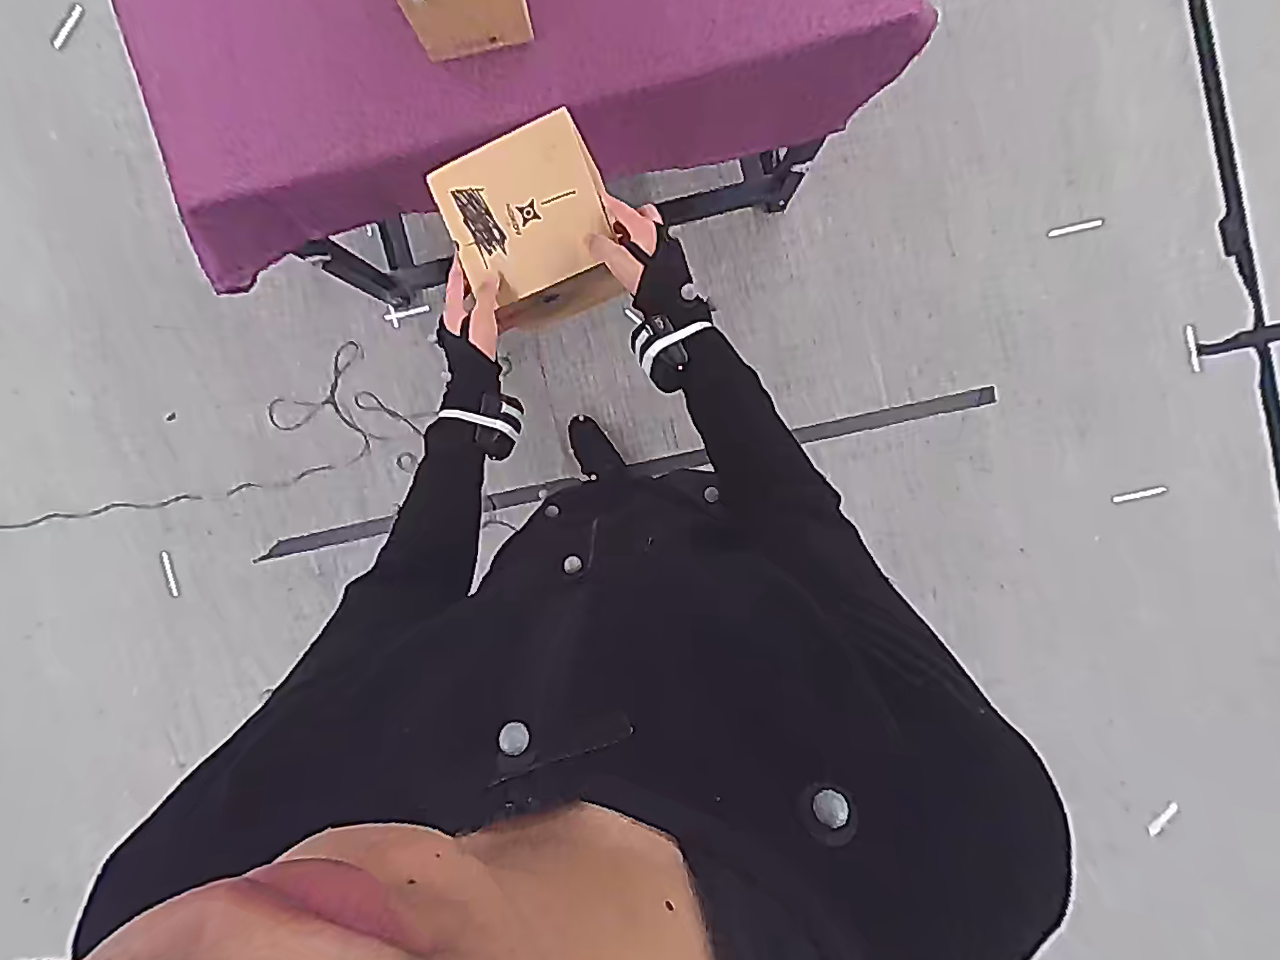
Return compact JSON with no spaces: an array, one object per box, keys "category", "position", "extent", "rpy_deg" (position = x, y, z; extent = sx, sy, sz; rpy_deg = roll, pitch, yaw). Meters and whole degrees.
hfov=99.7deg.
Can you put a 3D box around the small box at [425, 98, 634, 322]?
[{"category":"small box","position":[-0.121,-0.310,0.668],"extent":[0.179,0.176,0.168],"rpy_deg":[-20,96,9]}]
